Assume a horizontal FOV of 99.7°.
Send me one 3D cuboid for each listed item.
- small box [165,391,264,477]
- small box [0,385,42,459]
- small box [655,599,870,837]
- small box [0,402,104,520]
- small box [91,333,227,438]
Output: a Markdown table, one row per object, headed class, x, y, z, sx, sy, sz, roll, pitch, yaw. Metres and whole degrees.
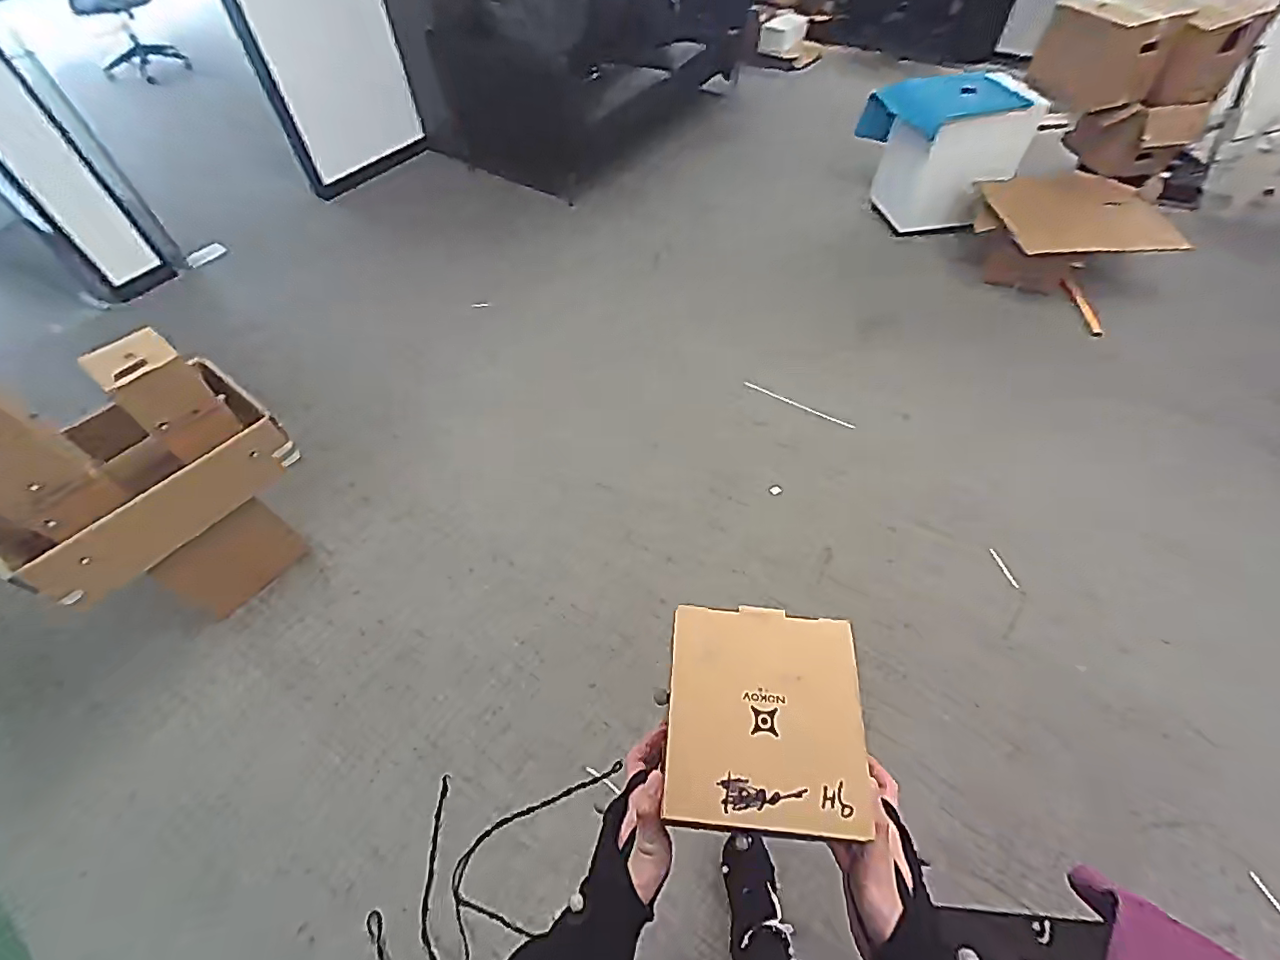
| class | x | y | z | sx | sy | sz | roll | pitch | yaw |
| --- | --- | --- | --- | --- | --- | --- | --- | --- | --- |
| small box | -1.204 | -0.140 | 1.503 | 0.179 | 0.176 | 0.168 | 33 | 61 | 22 |
| small box | -1.399 | -0.136 | 1.098 | 0.179 | 0.176 | 0.168 | 34 | 62 | 24 |
| small box | 0.103 | 0.235 | 0.528 | 0.168 | 0.176 | 0.179 | 4 | 56 | 4 |
| small box | -1.397 | -0.039 | 1.229 | 0.179 | 0.176 | 0.168 | 35 | 62 | 24 |
| small box | -1.203 | -0.232 | 1.366 | 0.179 | 0.176 | 0.168 | 34 | 61 | 23 |
